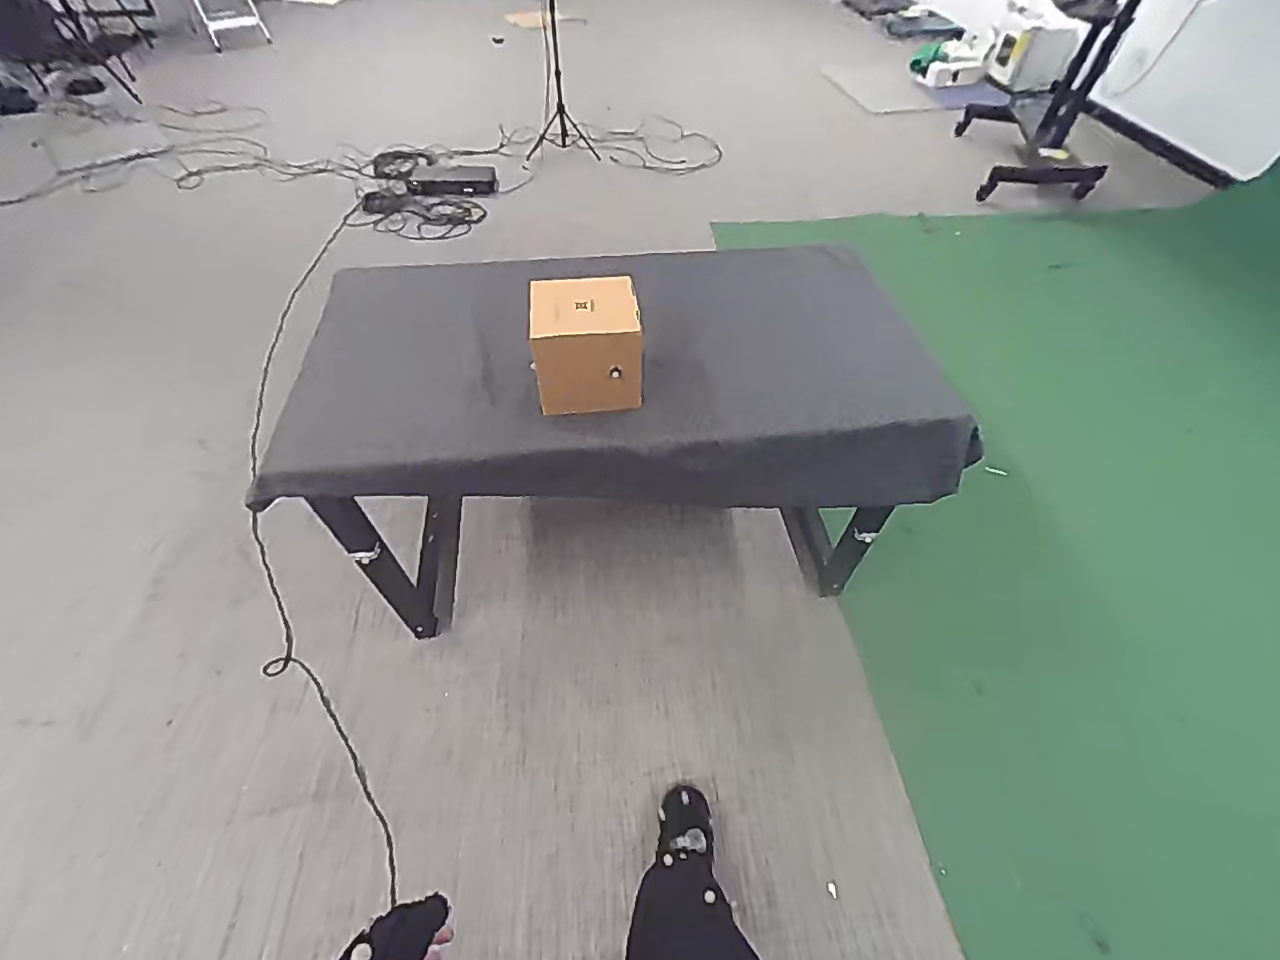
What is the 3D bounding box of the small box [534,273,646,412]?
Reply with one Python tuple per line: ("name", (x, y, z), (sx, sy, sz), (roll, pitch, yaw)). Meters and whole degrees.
("small box", (-0.086, -0.238, 0.951), (0.179, 0.176, 0.168), (-6, 51, -3))
